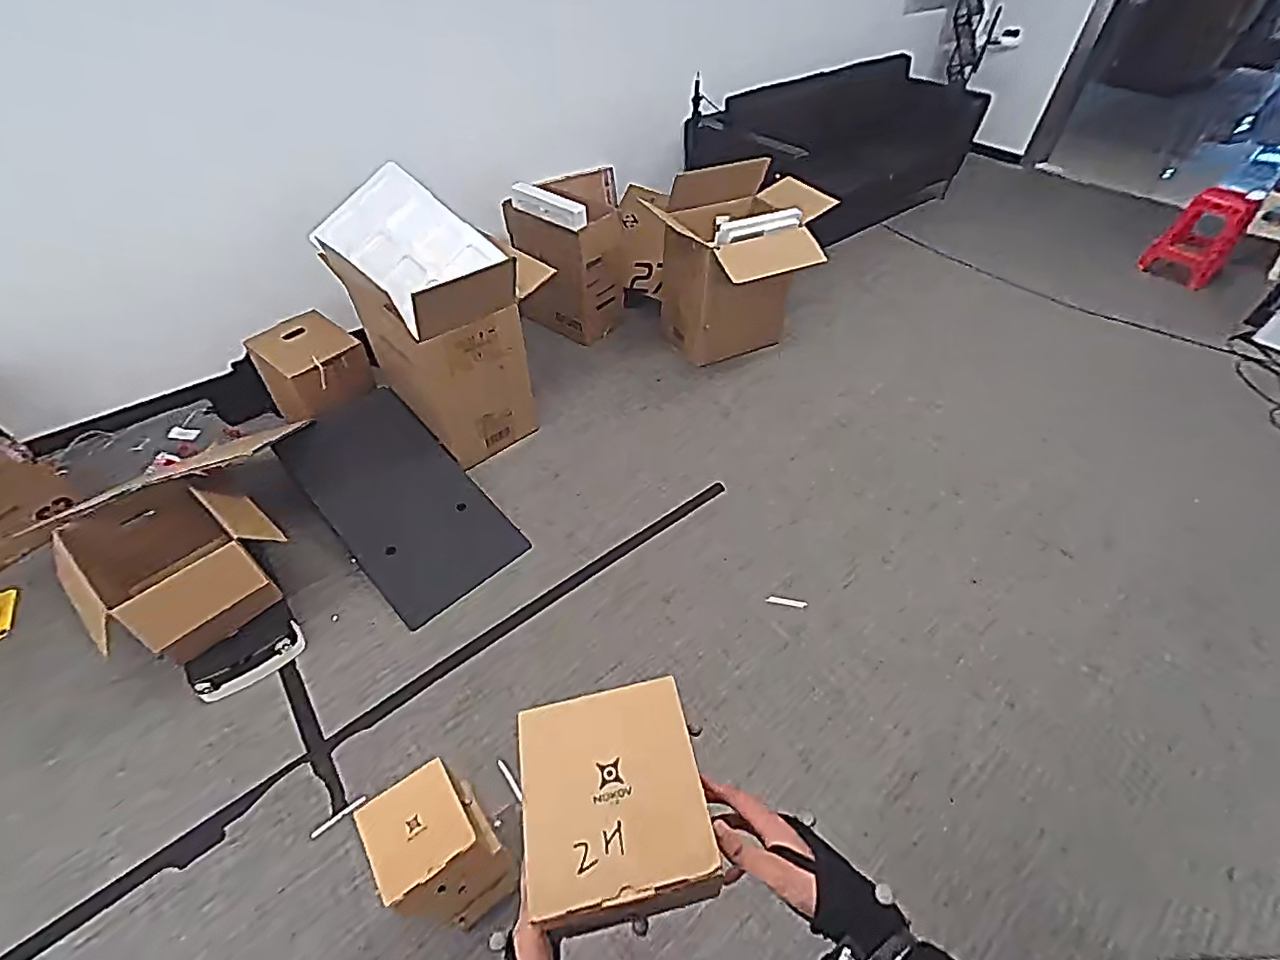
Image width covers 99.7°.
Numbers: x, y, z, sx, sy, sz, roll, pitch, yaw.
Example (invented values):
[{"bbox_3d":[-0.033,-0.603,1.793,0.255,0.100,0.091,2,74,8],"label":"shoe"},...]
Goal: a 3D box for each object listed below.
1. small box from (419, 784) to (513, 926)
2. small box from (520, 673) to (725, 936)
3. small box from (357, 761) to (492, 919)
[{"bbox_3d":[-0.390,0.791,1.138,0.179,0.176,0.168,-29,54,-27],"label":"small box"},{"bbox_3d":[-0.020,0.328,0.549,0.168,0.176,0.179,-12,47,-4],"label":"small box"},{"bbox_3d":[-0.400,0.680,1.019,0.168,0.176,0.179,-28,54,-26],"label":"small box"}]
